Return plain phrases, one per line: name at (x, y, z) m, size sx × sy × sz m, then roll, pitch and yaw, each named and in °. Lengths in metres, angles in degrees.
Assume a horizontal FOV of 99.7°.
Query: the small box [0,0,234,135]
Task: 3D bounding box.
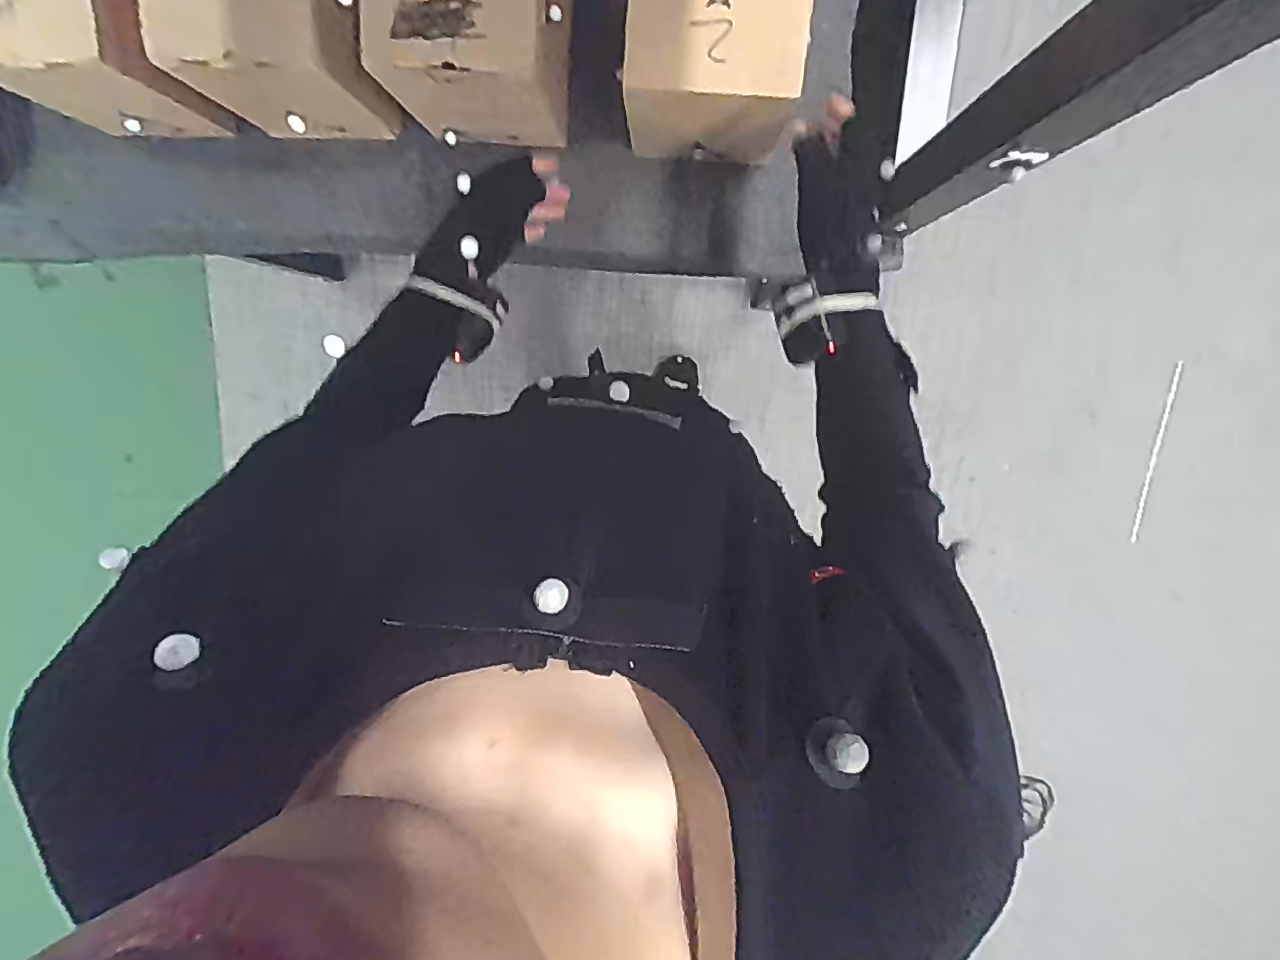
small box at (-0.580, -0.502, 0.576) m, size 0.168 × 0.176 × 0.179 m, roll 2°, pitch 102°, yaw 2°
